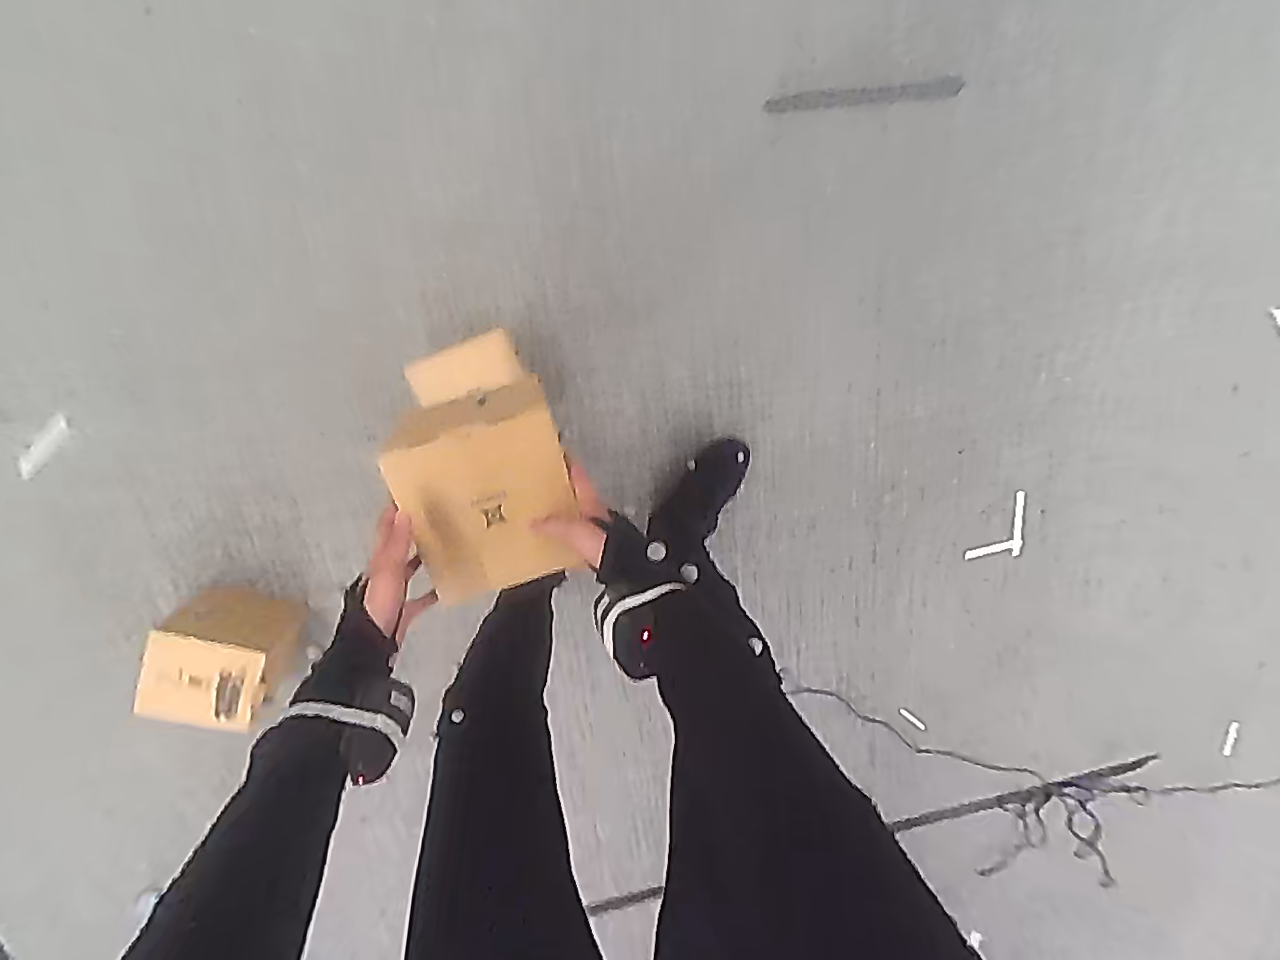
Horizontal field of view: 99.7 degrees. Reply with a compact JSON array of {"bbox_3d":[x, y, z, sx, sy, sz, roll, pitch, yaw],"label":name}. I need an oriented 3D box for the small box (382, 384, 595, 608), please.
[{"bbox_3d":[-0.157,0.007,0.606,0.168,0.176,0.179,-16,112,-7],"label":"small box"}]

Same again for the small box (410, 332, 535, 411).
[{"bbox_3d":[-0.266,-0.144,0.934,0.168,0.176,0.179,-23,110,-3],"label":"small box"}]
